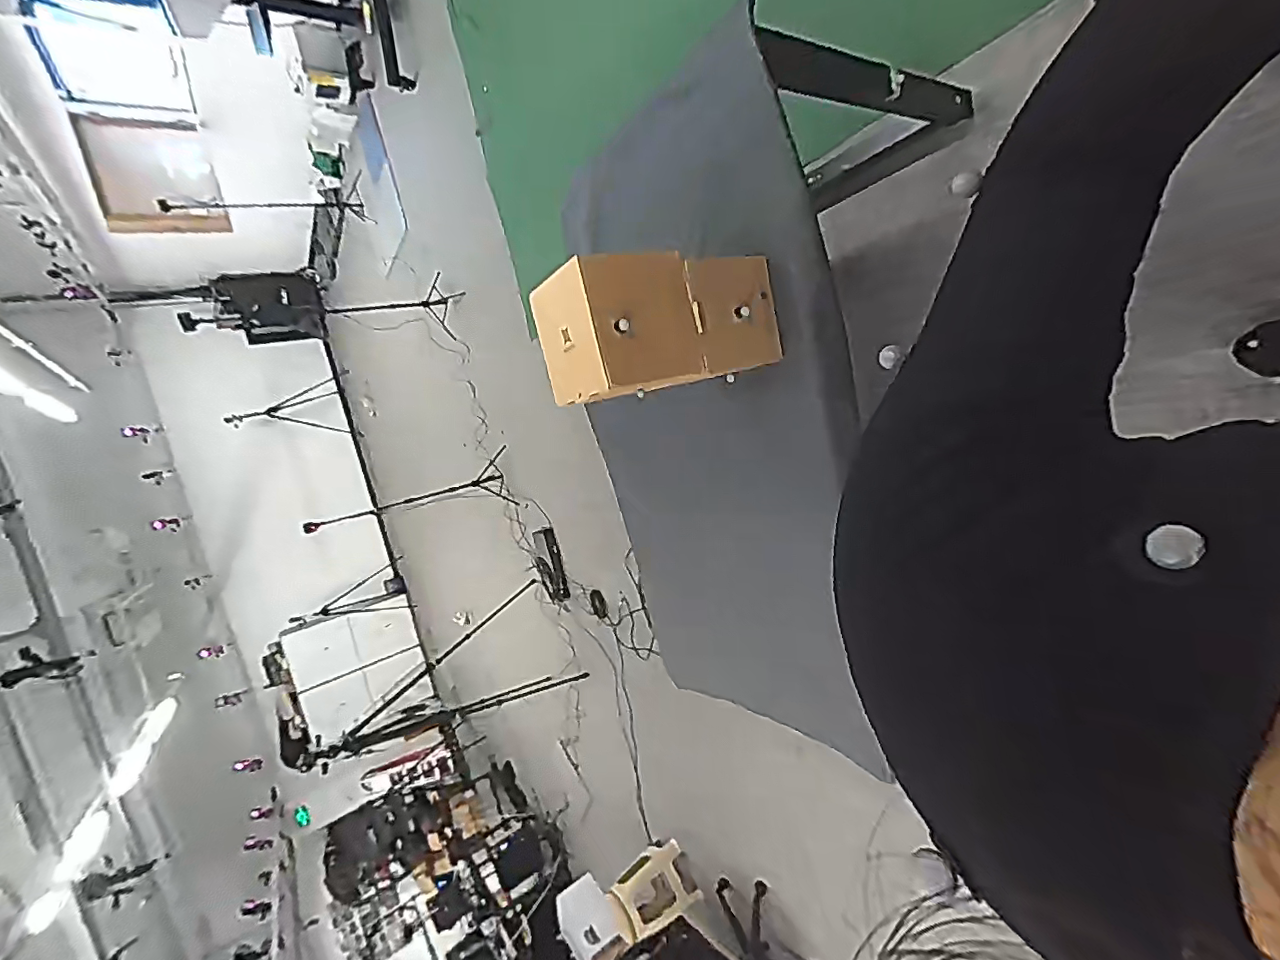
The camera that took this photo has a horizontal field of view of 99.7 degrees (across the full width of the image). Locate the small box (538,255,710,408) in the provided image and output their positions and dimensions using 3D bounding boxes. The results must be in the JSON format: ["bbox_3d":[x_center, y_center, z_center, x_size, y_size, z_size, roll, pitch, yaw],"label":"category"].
[{"bbox_3d":[-0.023,-0.215,0.791,0.168,0.176,0.179,-4,103,58],"label":"small box"}]

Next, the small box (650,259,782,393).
[{"bbox_3d":[0.112,-0.248,0.878,0.179,0.176,0.168,-1,105,57],"label":"small box"}]
